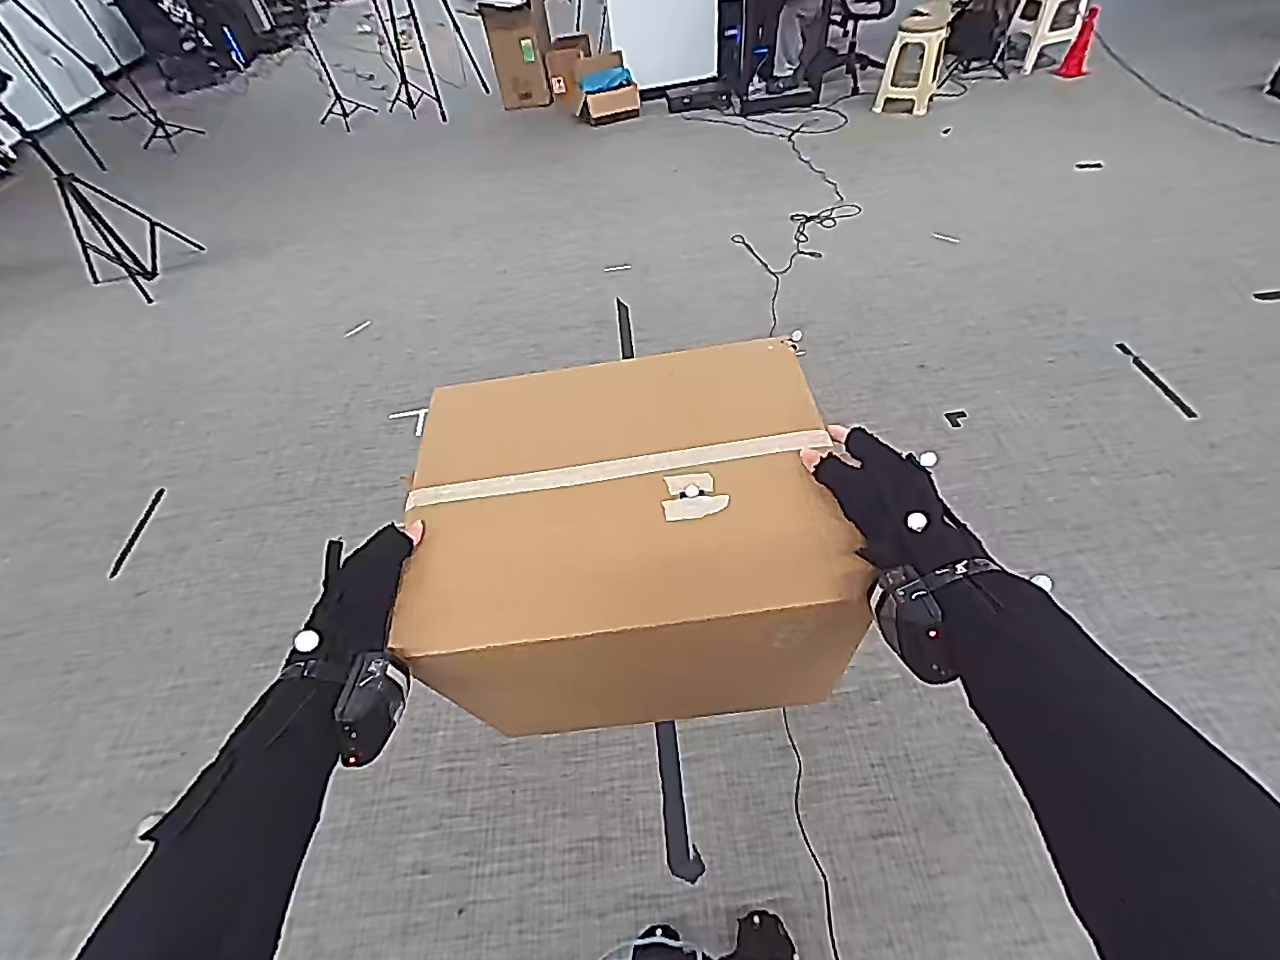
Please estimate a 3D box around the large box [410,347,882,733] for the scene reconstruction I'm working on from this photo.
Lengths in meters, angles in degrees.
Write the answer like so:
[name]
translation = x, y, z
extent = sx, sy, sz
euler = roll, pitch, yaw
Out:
[large box]
translation = 0.003, 0.084, 0.650
extent = 0.408, 0.320, 0.320
euler = -8, 54, 2
